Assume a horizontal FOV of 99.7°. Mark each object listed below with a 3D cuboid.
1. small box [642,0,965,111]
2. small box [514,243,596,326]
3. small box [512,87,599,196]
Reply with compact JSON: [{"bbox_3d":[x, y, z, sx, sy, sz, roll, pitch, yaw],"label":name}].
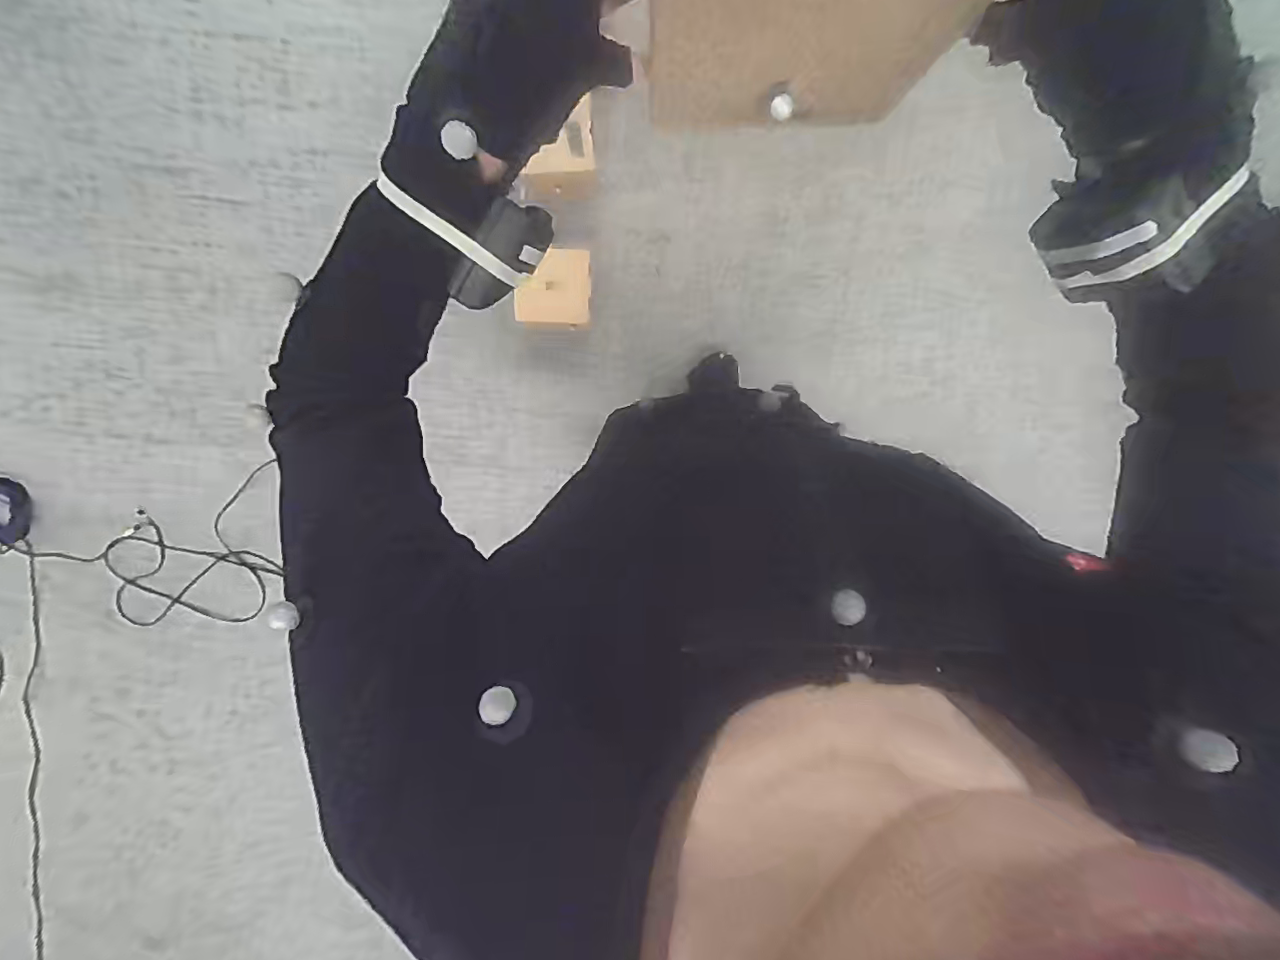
[{"bbox_3d":[0.084,-0.330,0.283,0.168,0.176,0.179,-1,101,2],"label":"small box"},{"bbox_3d":[-0.200,-0.468,1.312,0.179,0.176,0.168,0,100,-1],"label":"small box"},{"bbox_3d":[-0.188,-0.780,1.261,0.179,0.176,0.168,-3,99,1],"label":"small box"}]
